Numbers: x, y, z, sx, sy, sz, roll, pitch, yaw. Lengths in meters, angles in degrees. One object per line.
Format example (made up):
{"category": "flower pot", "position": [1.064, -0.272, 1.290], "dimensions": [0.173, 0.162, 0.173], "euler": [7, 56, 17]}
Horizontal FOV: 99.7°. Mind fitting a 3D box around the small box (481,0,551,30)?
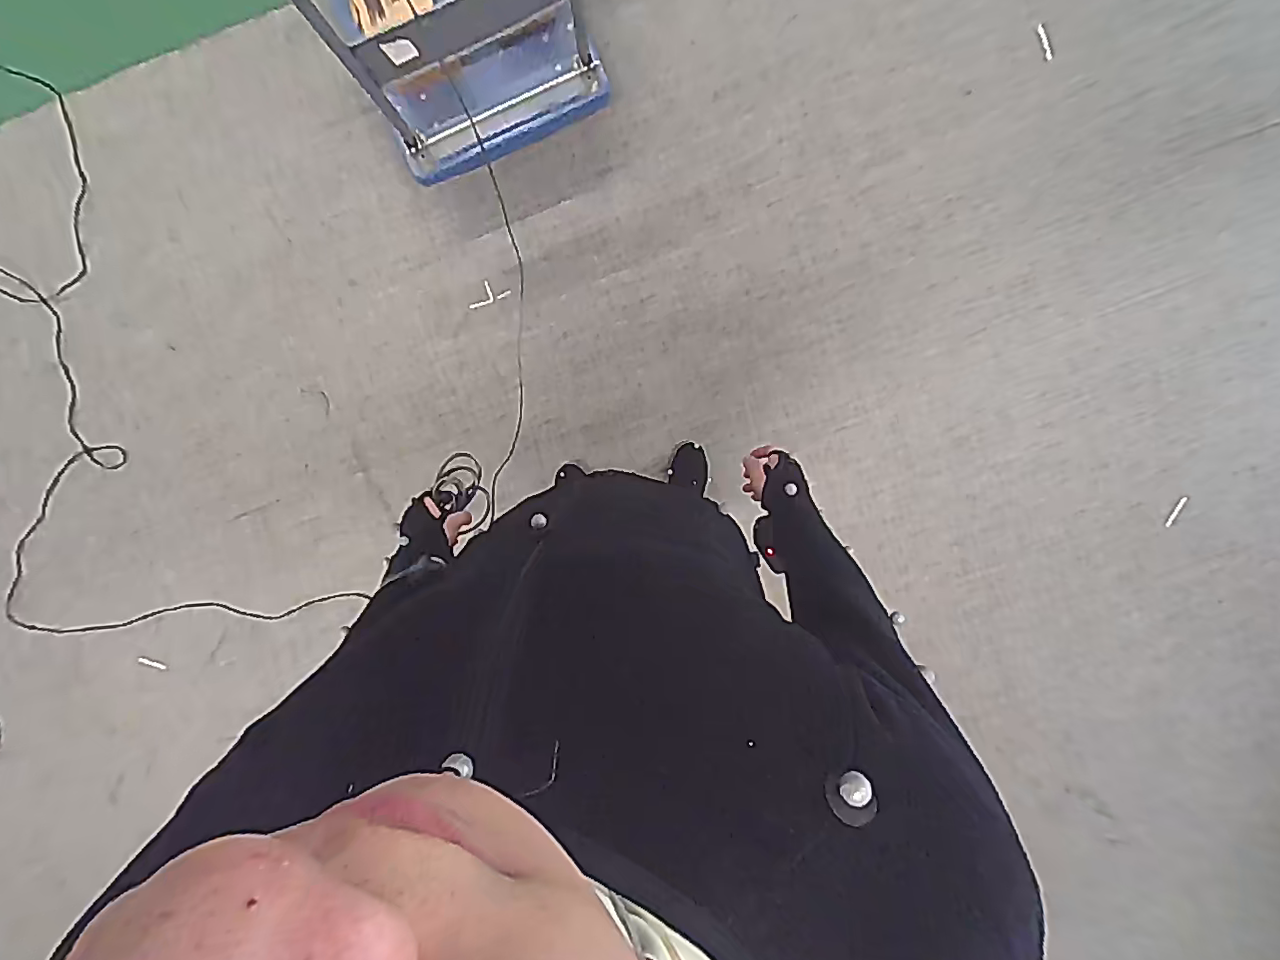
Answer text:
{"category": "small box", "position": [-0.328, -1.240, 1.286], "dimensions": [0.168, 0.176, 0.179], "euler": [-22, 95, 2]}
